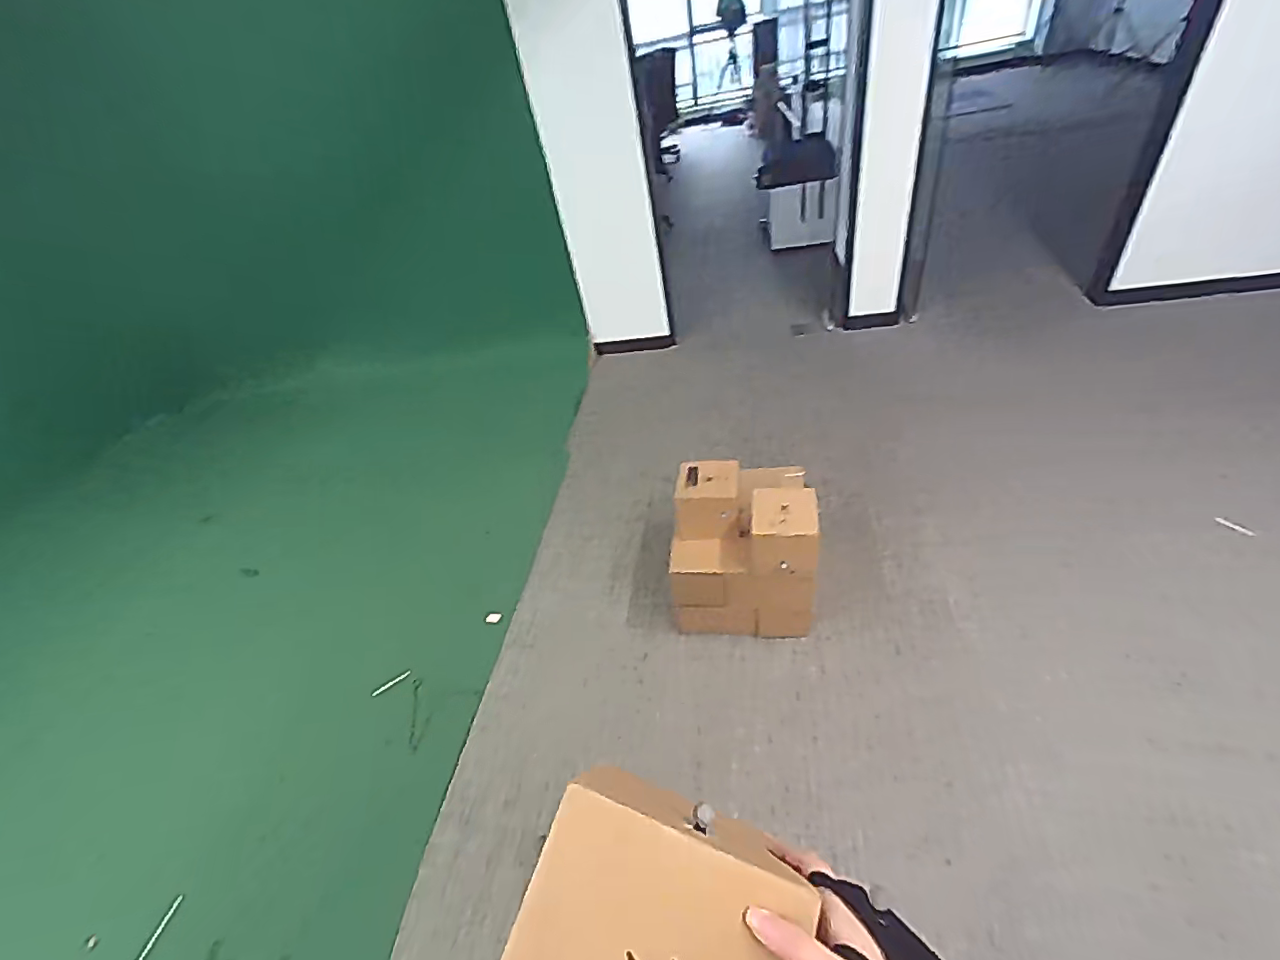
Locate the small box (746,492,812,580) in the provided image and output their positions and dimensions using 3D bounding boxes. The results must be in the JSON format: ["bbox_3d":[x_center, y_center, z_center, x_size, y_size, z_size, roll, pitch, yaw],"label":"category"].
[{"bbox_3d":[0.374,0.150,1.470,0.168,0.176,0.179,-1,41,13],"label":"small box"}]
